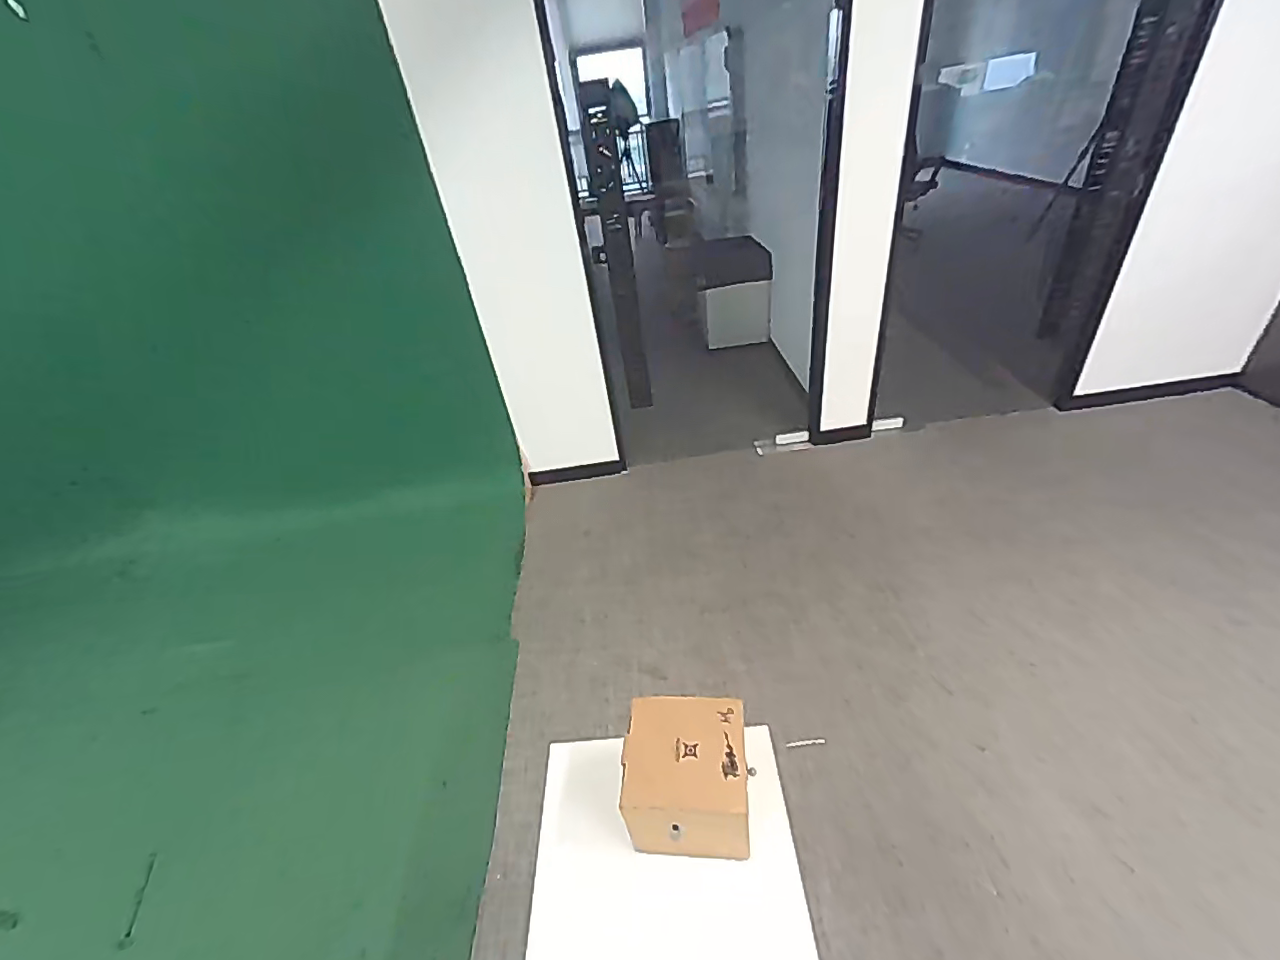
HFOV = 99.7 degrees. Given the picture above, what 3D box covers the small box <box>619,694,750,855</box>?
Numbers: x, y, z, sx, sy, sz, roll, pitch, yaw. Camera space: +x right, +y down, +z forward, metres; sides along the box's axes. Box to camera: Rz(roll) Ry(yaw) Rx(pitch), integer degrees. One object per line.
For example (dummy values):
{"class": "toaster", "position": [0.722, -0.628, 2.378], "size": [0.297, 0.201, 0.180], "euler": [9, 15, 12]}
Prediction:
{"class": "small box", "position": [0.076, 0.452, 0.833], "size": [0.179, 0.176, 0.168], "euler": [-3, 37, 10]}
